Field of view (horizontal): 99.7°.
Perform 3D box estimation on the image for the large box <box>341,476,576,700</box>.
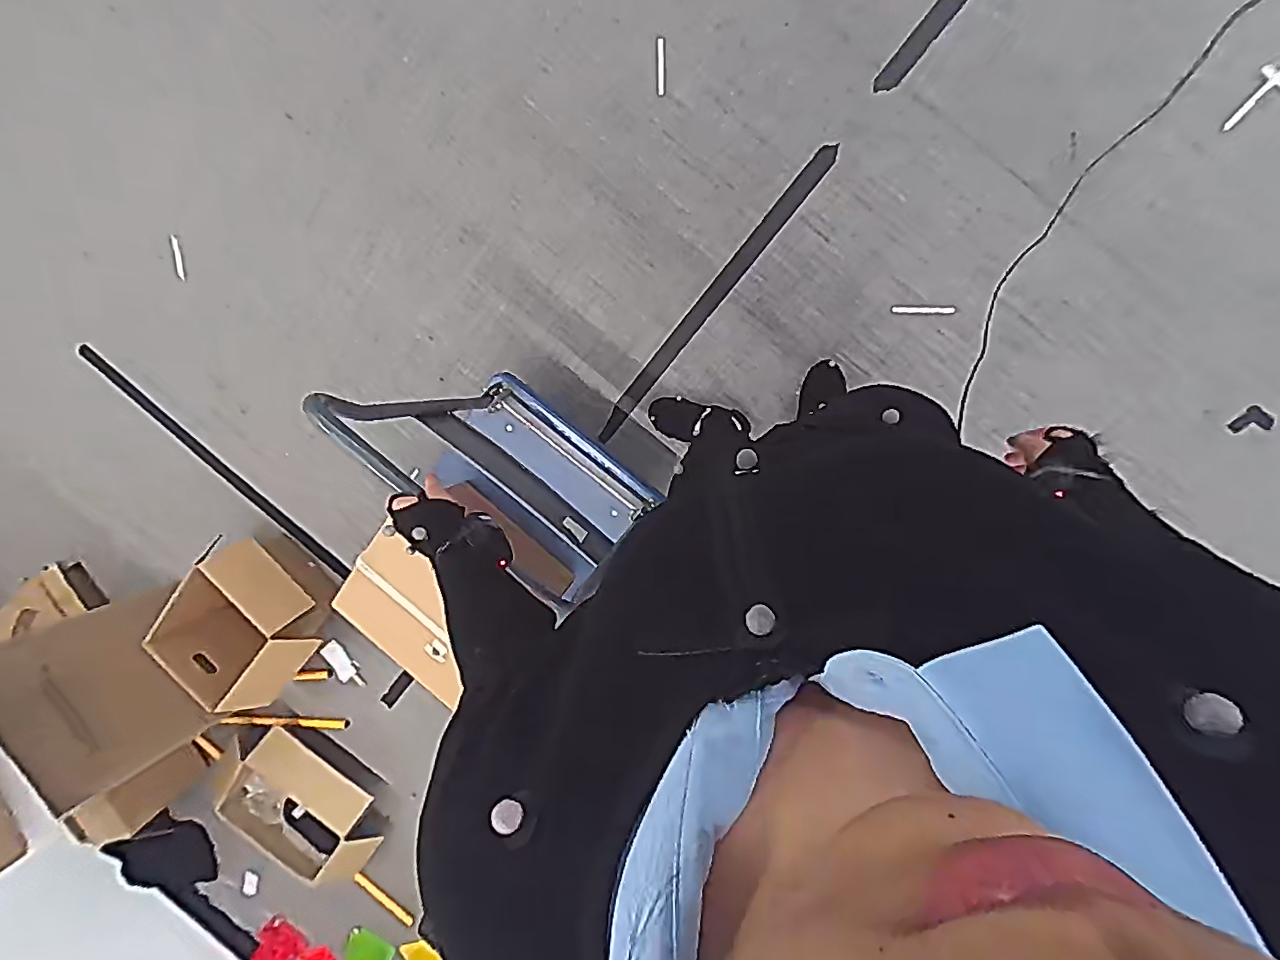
[{"bbox_3d":[-0.440,0.252,1.374,0.408,0.320,0.320,40,108,0],"label":"large box"}]
